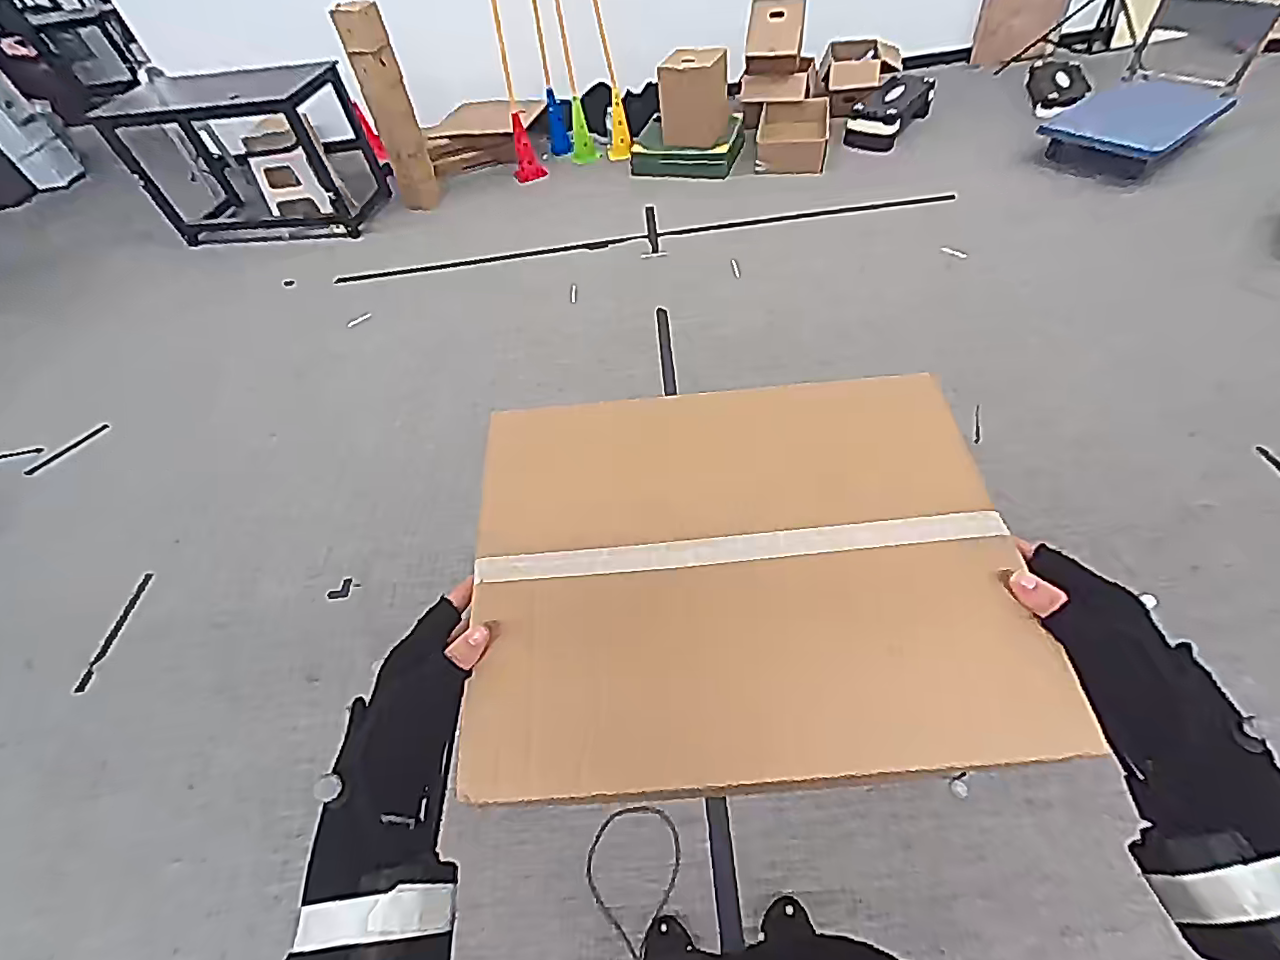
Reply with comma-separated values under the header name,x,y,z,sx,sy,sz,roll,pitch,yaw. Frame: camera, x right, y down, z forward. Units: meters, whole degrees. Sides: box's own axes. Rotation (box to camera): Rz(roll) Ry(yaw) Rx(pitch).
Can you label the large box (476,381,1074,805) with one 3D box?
name,x,y,z,sx,sy,sz,roll,pitch,yaw
large box,0.087,0.134,0.556,0.408,0.320,0.320,-6,59,1
